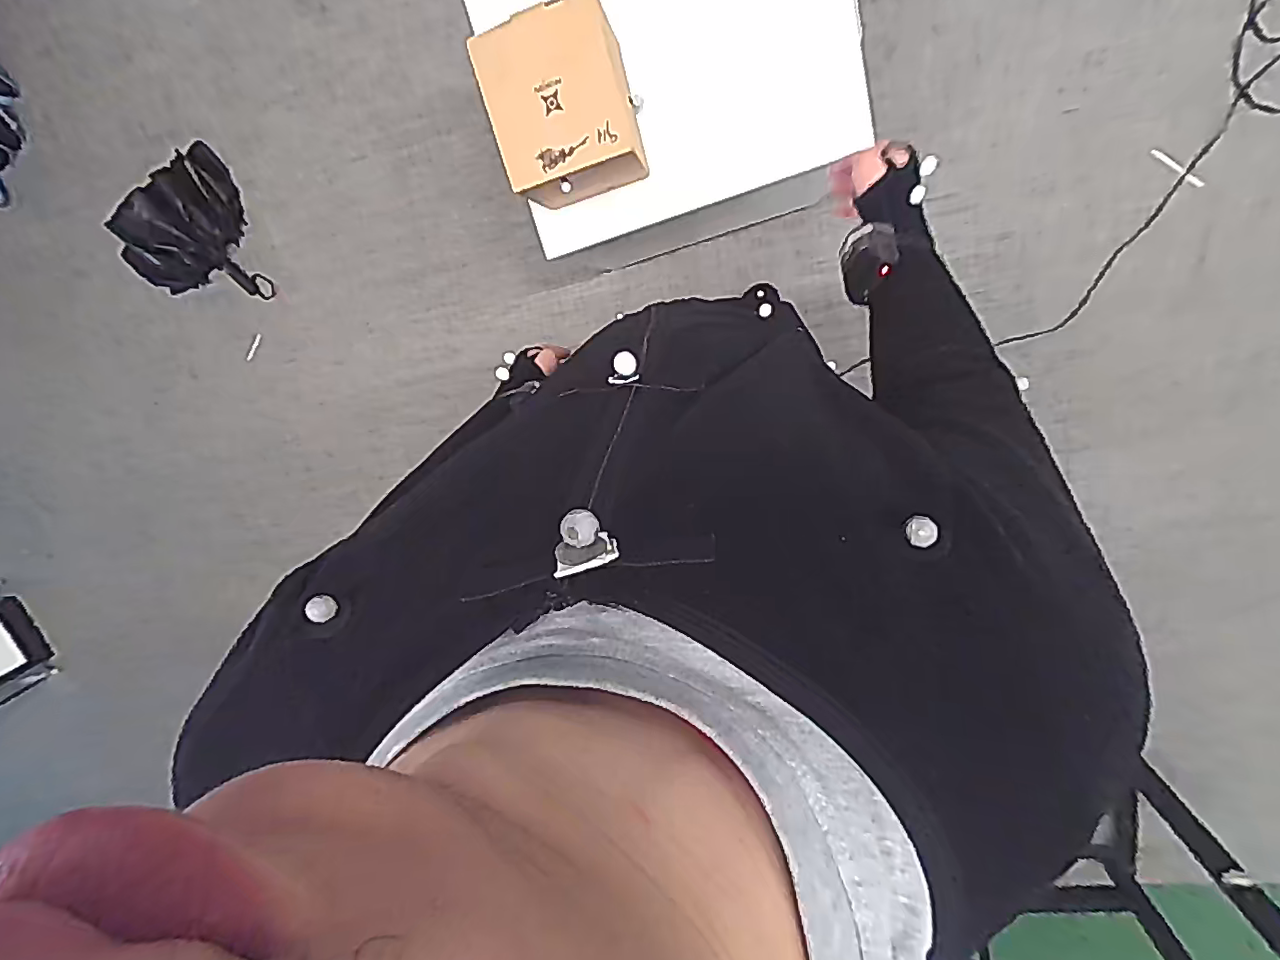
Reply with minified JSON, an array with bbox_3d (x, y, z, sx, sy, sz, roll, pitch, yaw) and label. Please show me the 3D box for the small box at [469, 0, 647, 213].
[{"bbox_3d":[-0.097,-0.488,0.729,0.168,0.176,0.179,-13,106,12],"label":"small box"}]
